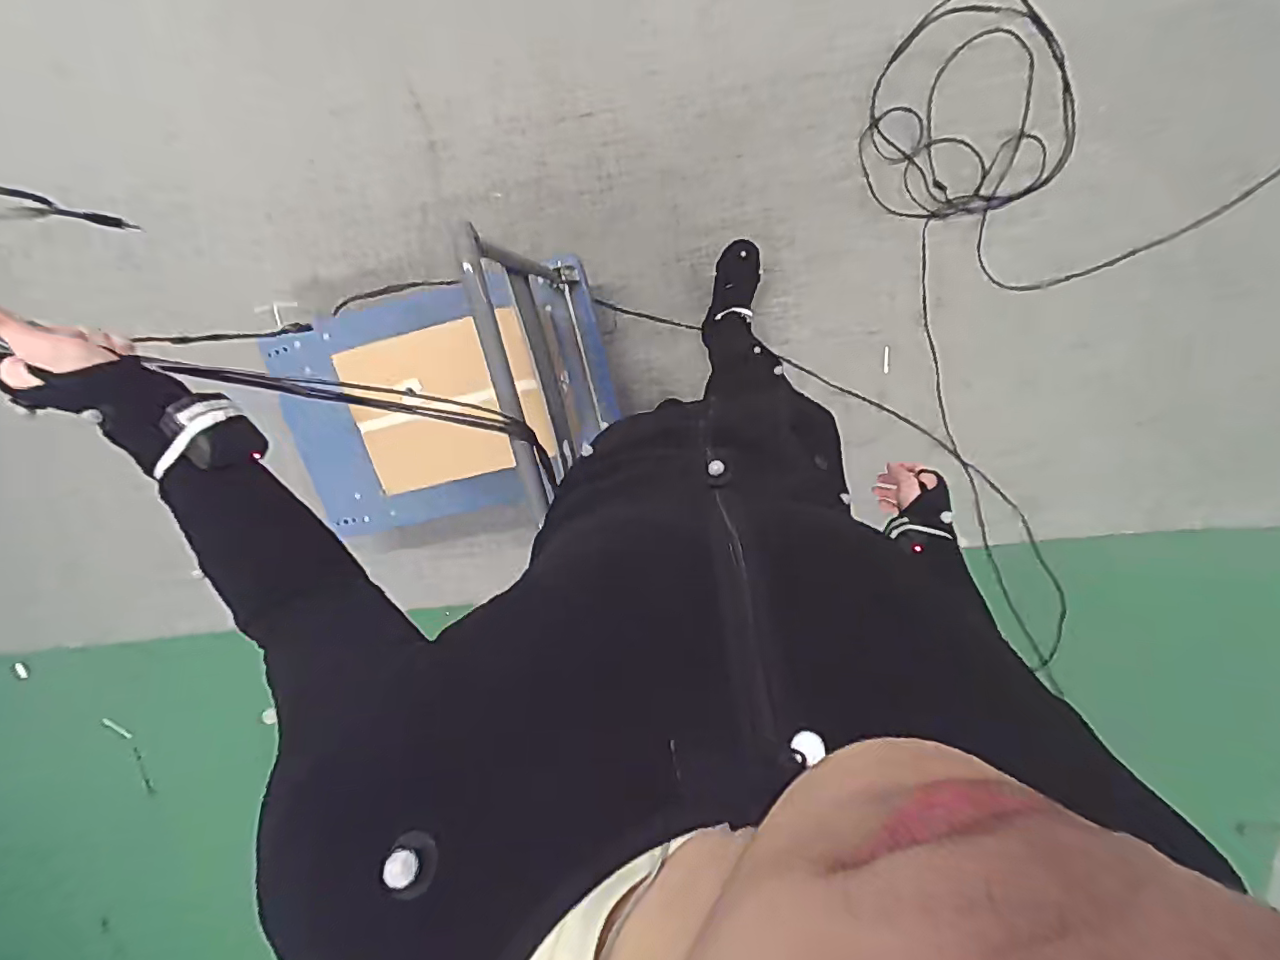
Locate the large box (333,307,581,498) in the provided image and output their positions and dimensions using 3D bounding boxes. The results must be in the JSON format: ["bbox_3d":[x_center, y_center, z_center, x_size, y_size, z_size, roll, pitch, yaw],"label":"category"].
[{"bbox_3d":[-0.387,-0.190,1.253,0.408,0.320,0.320,-13,104,7],"label":"large box"}]
